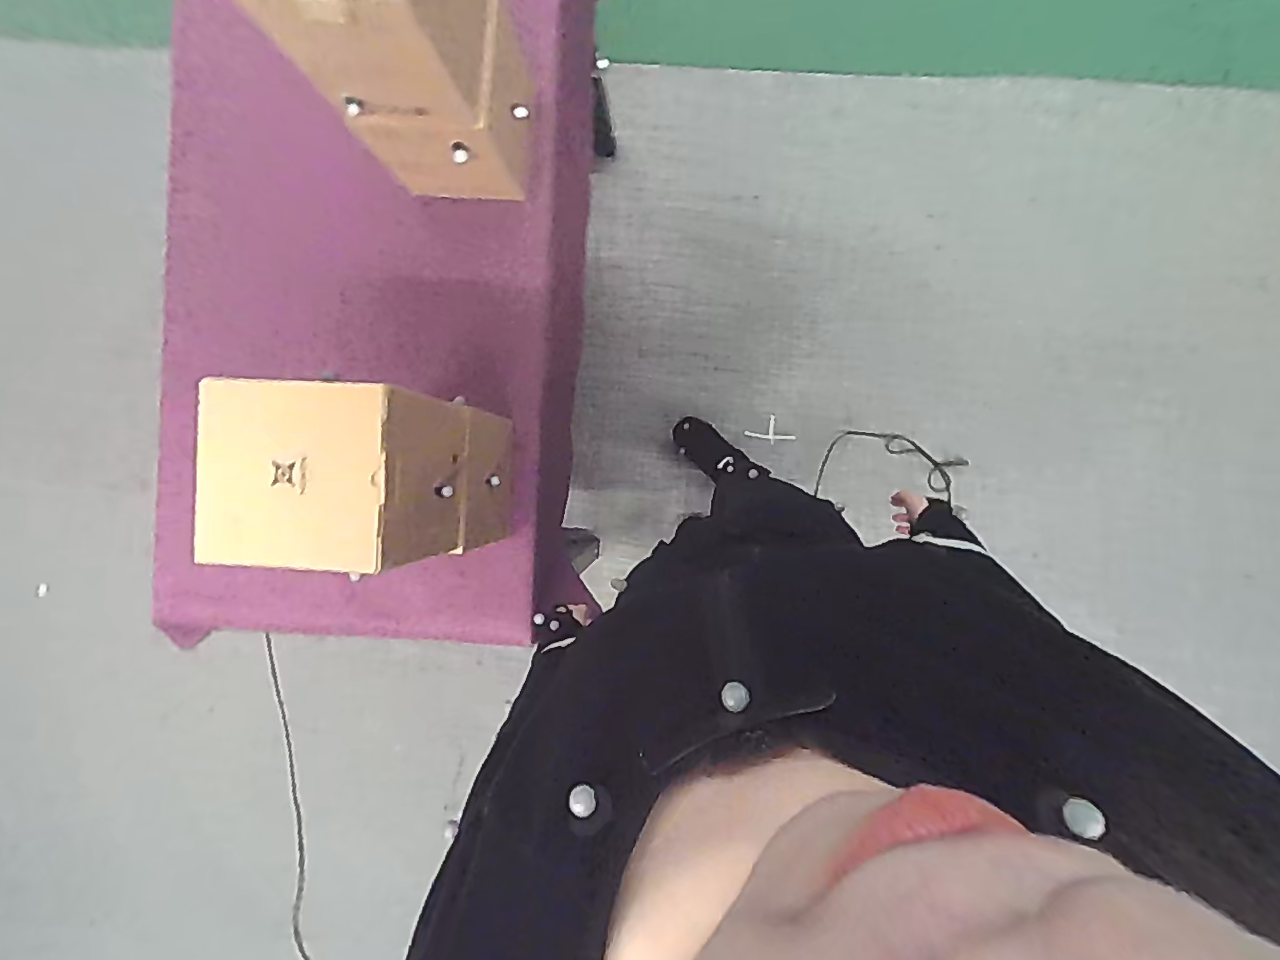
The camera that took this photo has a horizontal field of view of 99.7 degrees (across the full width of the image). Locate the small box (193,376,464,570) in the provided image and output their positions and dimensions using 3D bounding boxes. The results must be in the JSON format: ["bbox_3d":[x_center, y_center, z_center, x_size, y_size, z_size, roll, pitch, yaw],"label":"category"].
[{"bbox_3d":[-0.301,-0.007,0.554,0.179,0.176,0.168,3,90,3],"label":"small box"}]

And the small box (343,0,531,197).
[{"bbox_3d":[-0.252,-0.496,0.712,0.179,0.176,0.168,5,90,5],"label":"small box"}]

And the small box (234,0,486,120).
[{"bbox_3d":[-0.267,-0.503,0.547,0.168,0.176,0.179,6,90,4],"label":"small box"}]
